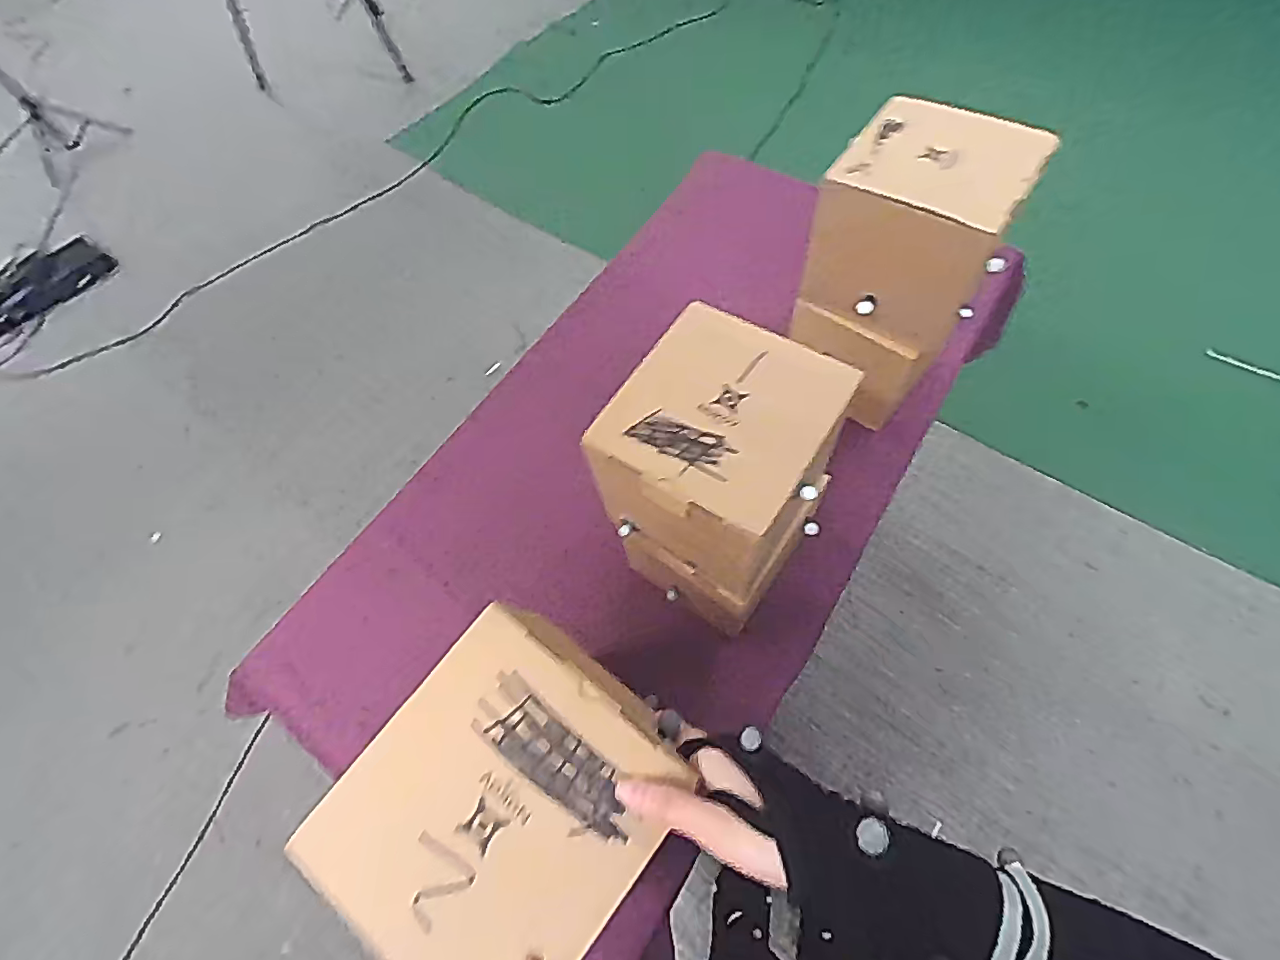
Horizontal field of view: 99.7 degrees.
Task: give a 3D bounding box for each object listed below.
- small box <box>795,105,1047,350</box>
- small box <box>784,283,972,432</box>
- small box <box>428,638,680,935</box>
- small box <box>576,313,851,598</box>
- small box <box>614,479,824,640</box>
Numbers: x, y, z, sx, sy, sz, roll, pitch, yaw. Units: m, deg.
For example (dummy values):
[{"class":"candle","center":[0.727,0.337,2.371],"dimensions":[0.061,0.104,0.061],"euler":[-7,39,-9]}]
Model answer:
[{"class":"small box","center":[0.303,-0.278,0.620],"dimensions":[0.179,0.176,0.168],"euler":[32,70,20]},{"class":"small box","center":[0.318,-0.200,0.764],"dimensions":[0.168,0.176,0.179],"euler":[36,72,22]},{"class":"small box","center":[-0.070,0.297,0.553],"dimensions":[0.168,0.176,0.179],"euler":[37,72,22]},{"class":"small box","center":[0.069,-0.015,0.509],"dimensions":[0.168,0.176,0.179],"euler":[29,69,20]},{"class":"small box","center":[0.092,0.064,0.652],"dimensions":[0.168,0.176,0.179],"euler":[32,71,21]}]
